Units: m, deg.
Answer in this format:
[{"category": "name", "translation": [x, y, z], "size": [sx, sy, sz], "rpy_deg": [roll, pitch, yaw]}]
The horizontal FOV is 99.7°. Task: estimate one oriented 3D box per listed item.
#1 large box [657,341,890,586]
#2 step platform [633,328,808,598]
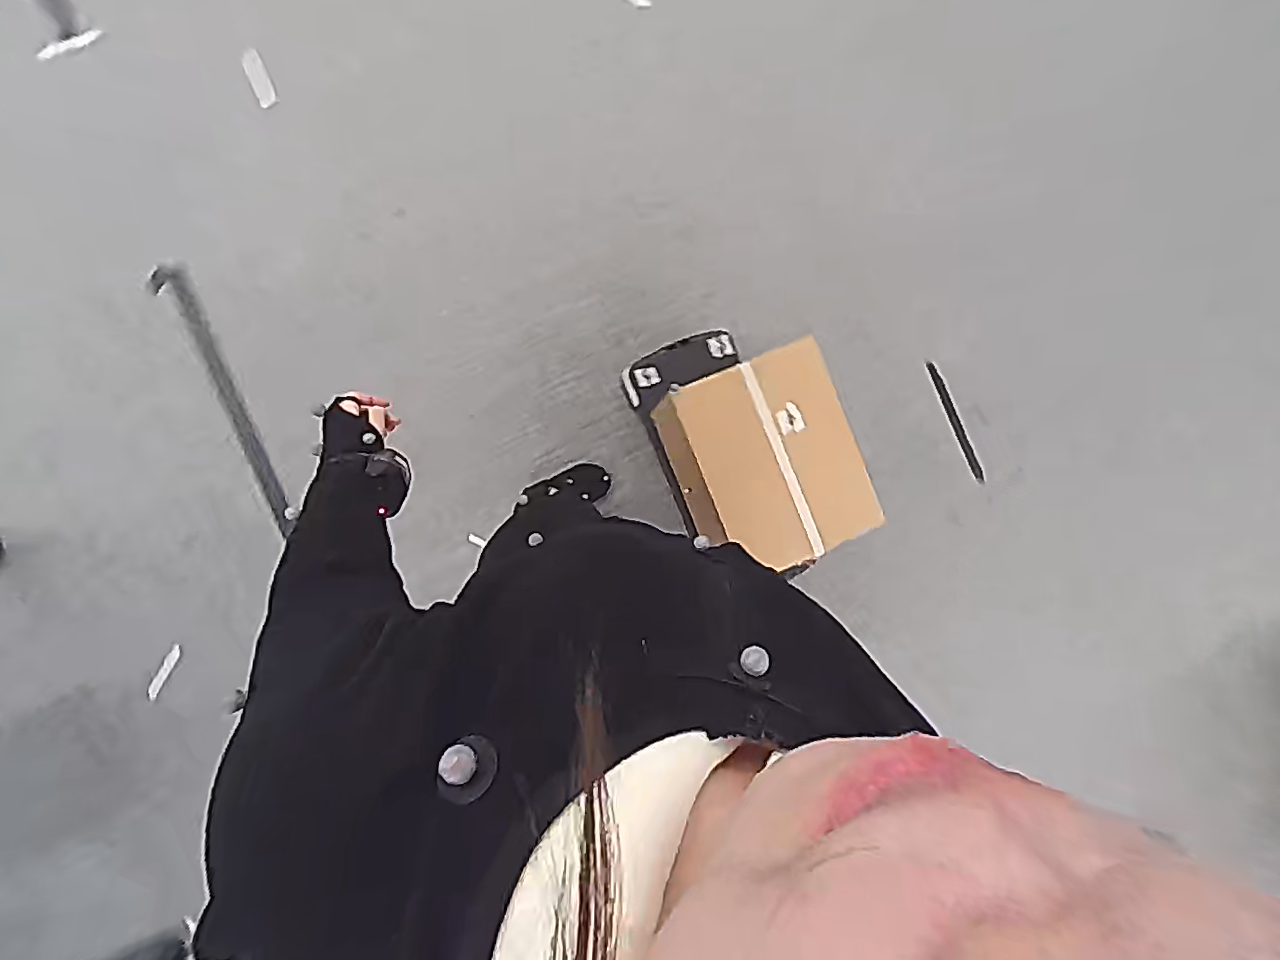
[{"category": "large box", "translation": [0.263, -0.029, 1.187], "size": [0.320, 0.320, 0.408], "rpy_deg": [-22, 91, -6]}, {"category": "step platform", "translation": [0.204, -0.043, 1.421], "size": [0.286, 0.204, 0.684], "rpy_deg": [-17, 90, -6]}]
